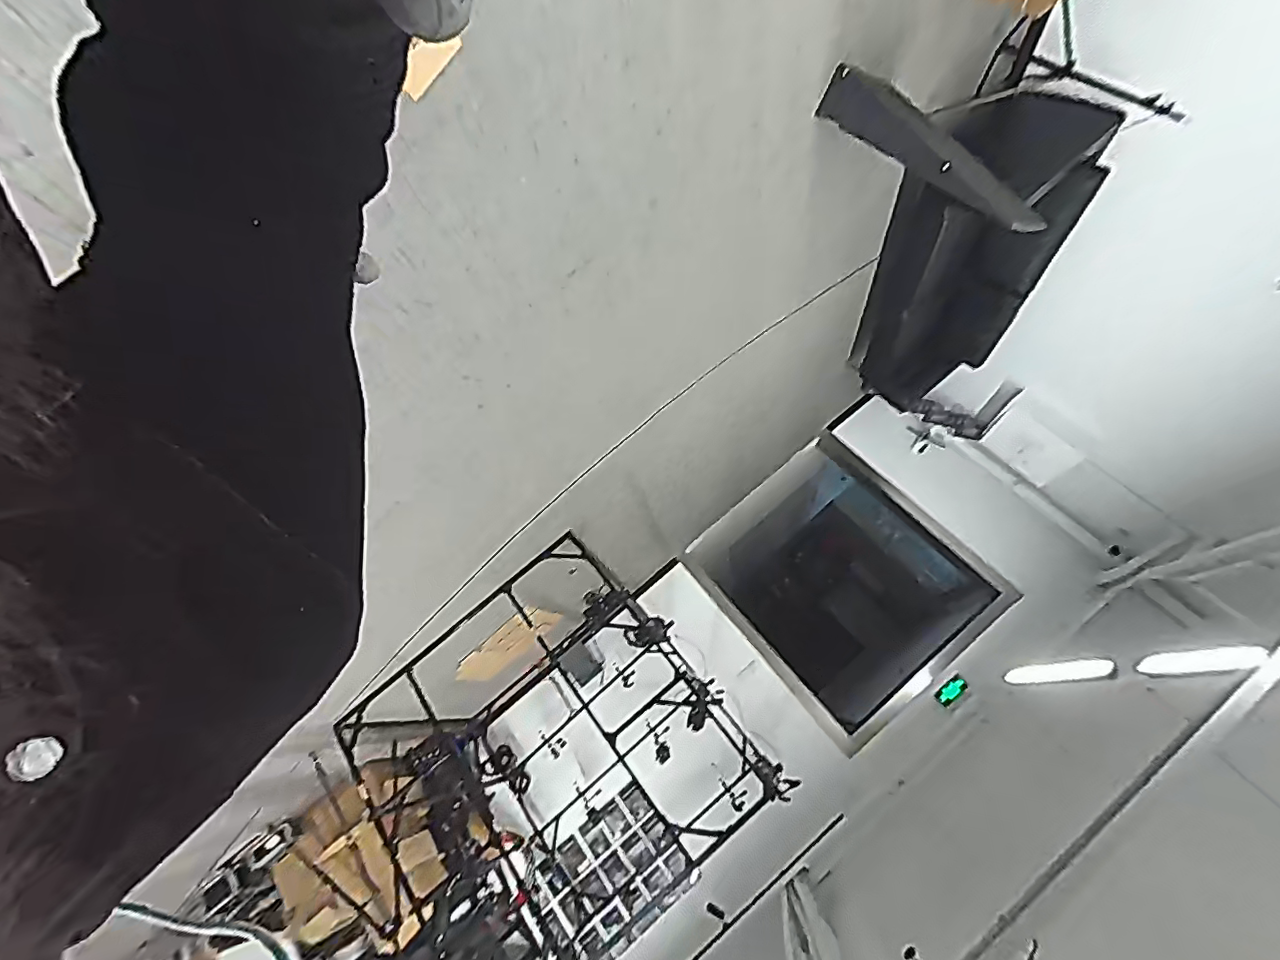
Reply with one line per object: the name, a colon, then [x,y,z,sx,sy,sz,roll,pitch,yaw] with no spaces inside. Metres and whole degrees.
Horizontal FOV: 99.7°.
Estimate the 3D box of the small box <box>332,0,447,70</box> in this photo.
small box: [-0.552,-1.032,1.136,0.168,0.176,0.179,-44,159,7]
